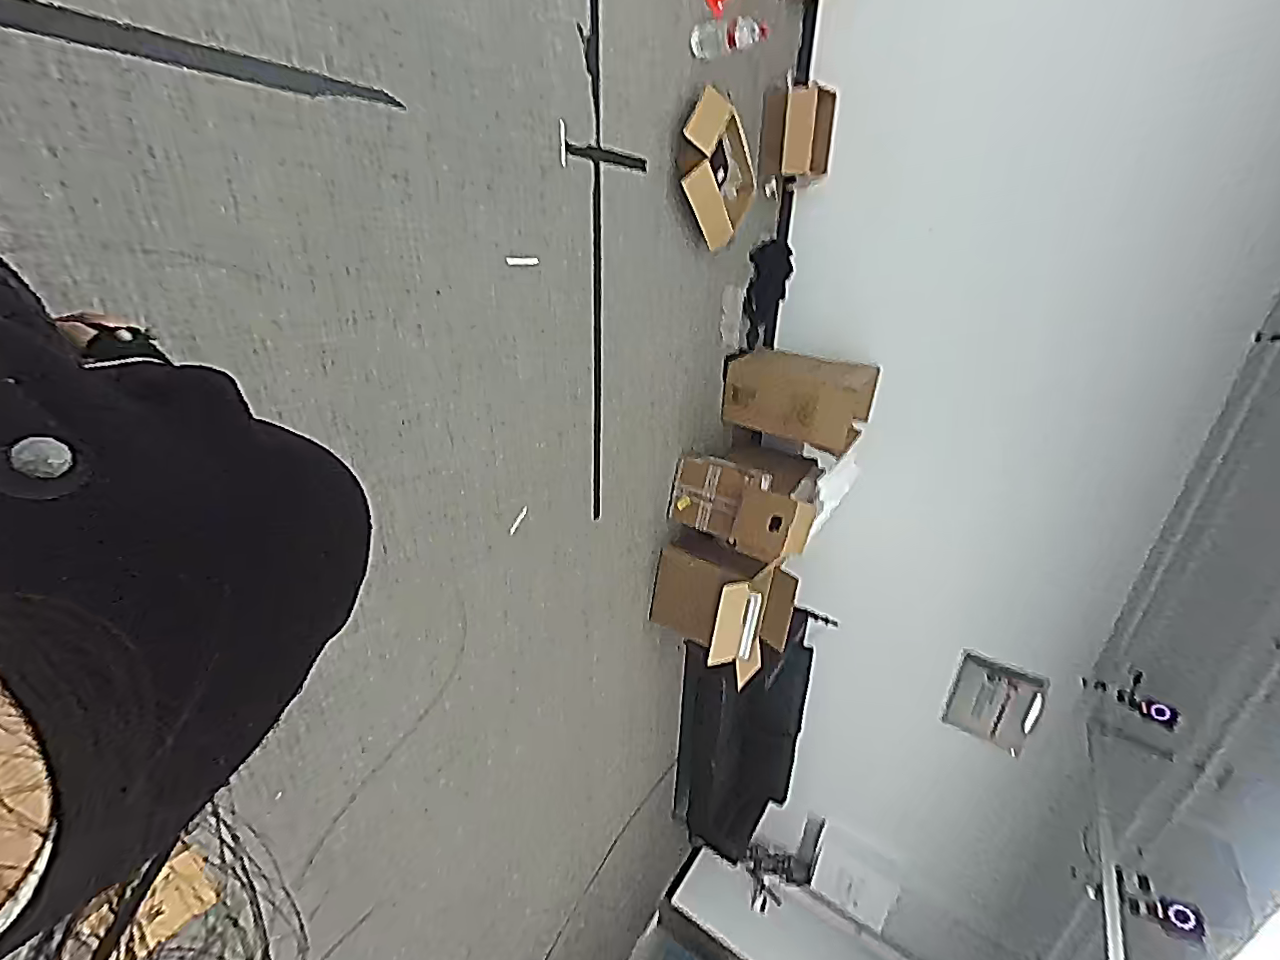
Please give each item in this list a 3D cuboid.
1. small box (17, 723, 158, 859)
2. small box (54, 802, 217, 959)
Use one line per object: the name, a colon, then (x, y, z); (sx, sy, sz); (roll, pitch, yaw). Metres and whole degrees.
small box: (-1.218, 0.671, 1.193); (0.168, 0.176, 0.179); (-25, 127, -50)
small box: (-0.950, 0.763, 1.024); (0.168, 0.176, 0.179); (-29, 128, -49)
